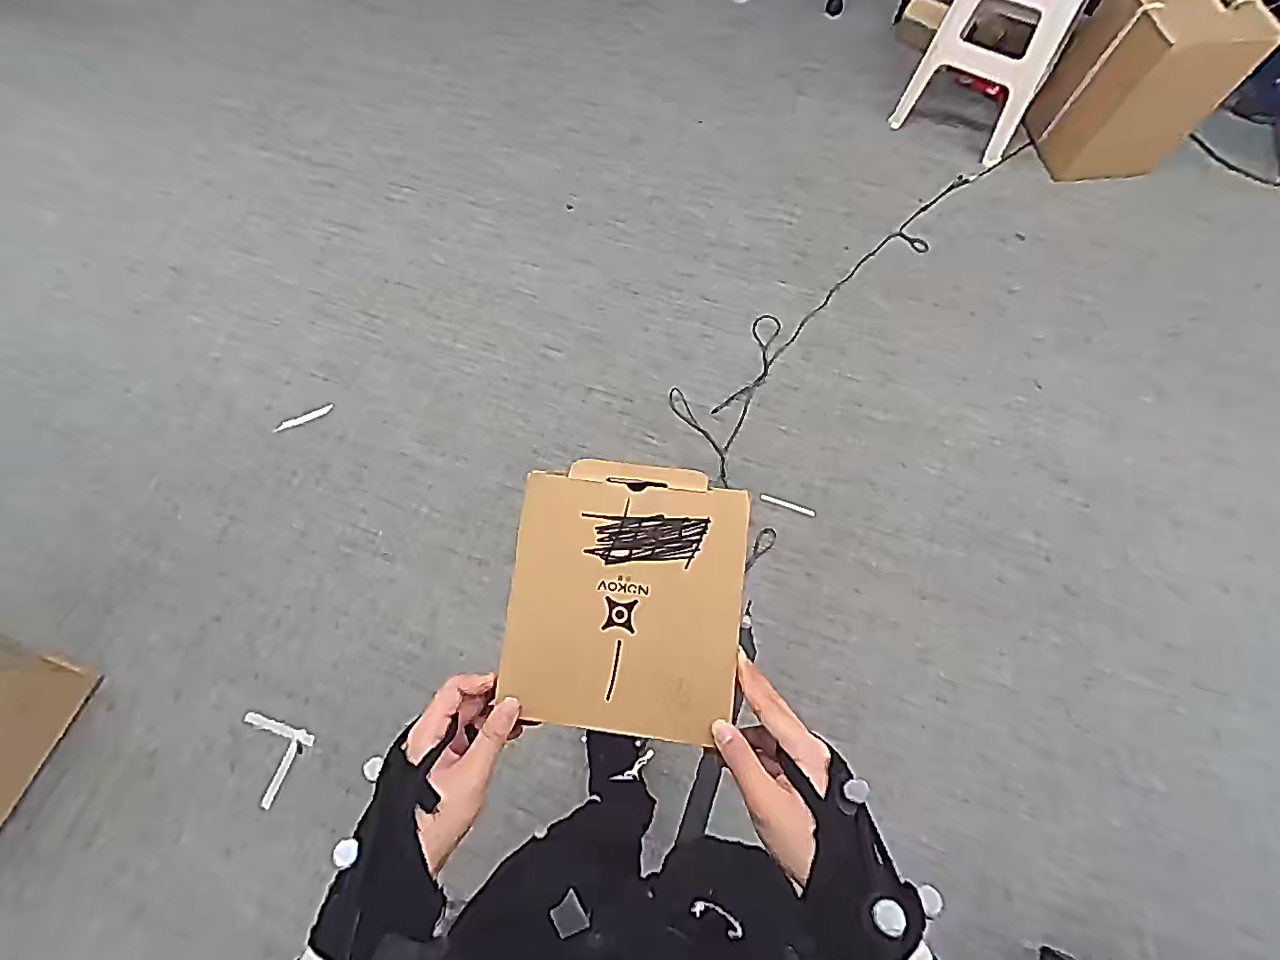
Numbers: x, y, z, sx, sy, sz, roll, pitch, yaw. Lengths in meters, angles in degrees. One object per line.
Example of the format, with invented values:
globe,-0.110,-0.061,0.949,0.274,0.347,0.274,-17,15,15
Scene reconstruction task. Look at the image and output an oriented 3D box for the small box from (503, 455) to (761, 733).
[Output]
small box,0.002,0.089,0.457,0.168,0.176,0.179,6,81,6
